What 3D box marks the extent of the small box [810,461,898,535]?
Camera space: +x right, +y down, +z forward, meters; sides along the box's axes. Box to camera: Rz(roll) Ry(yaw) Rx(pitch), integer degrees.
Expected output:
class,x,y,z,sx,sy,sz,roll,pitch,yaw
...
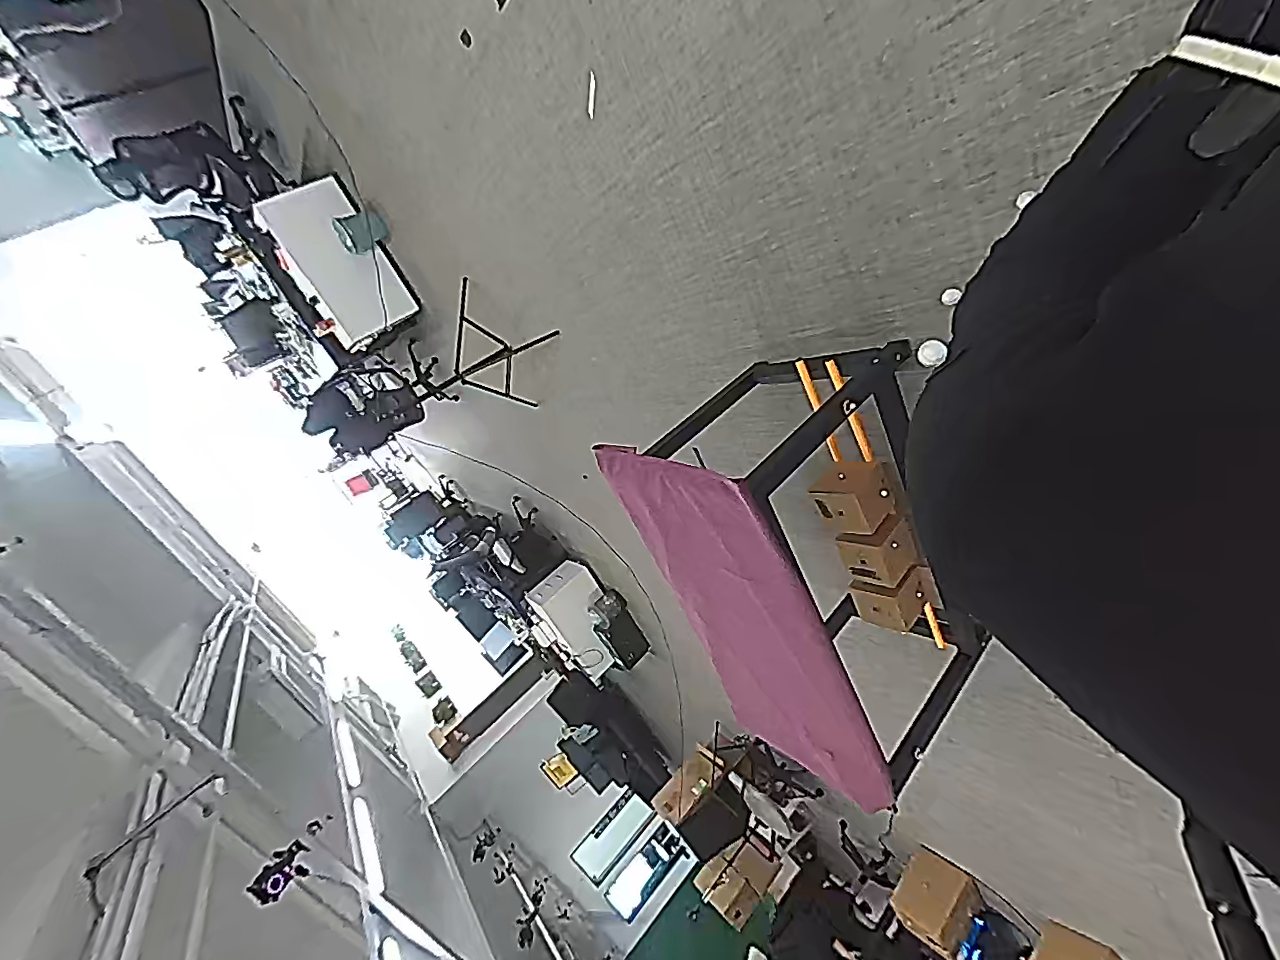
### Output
class,x,y,z,sx,sy,sz,roll,pitch,yaw
small box,0.684,0.052,1.724,0.179,0.176,0.168,1,128,55

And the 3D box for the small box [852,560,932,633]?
class,x,y,z,sx,sy,sz,roll,pitch,yaw
small box,0.878,0.397,1.881,0.179,0.176,0.168,4,129,54
